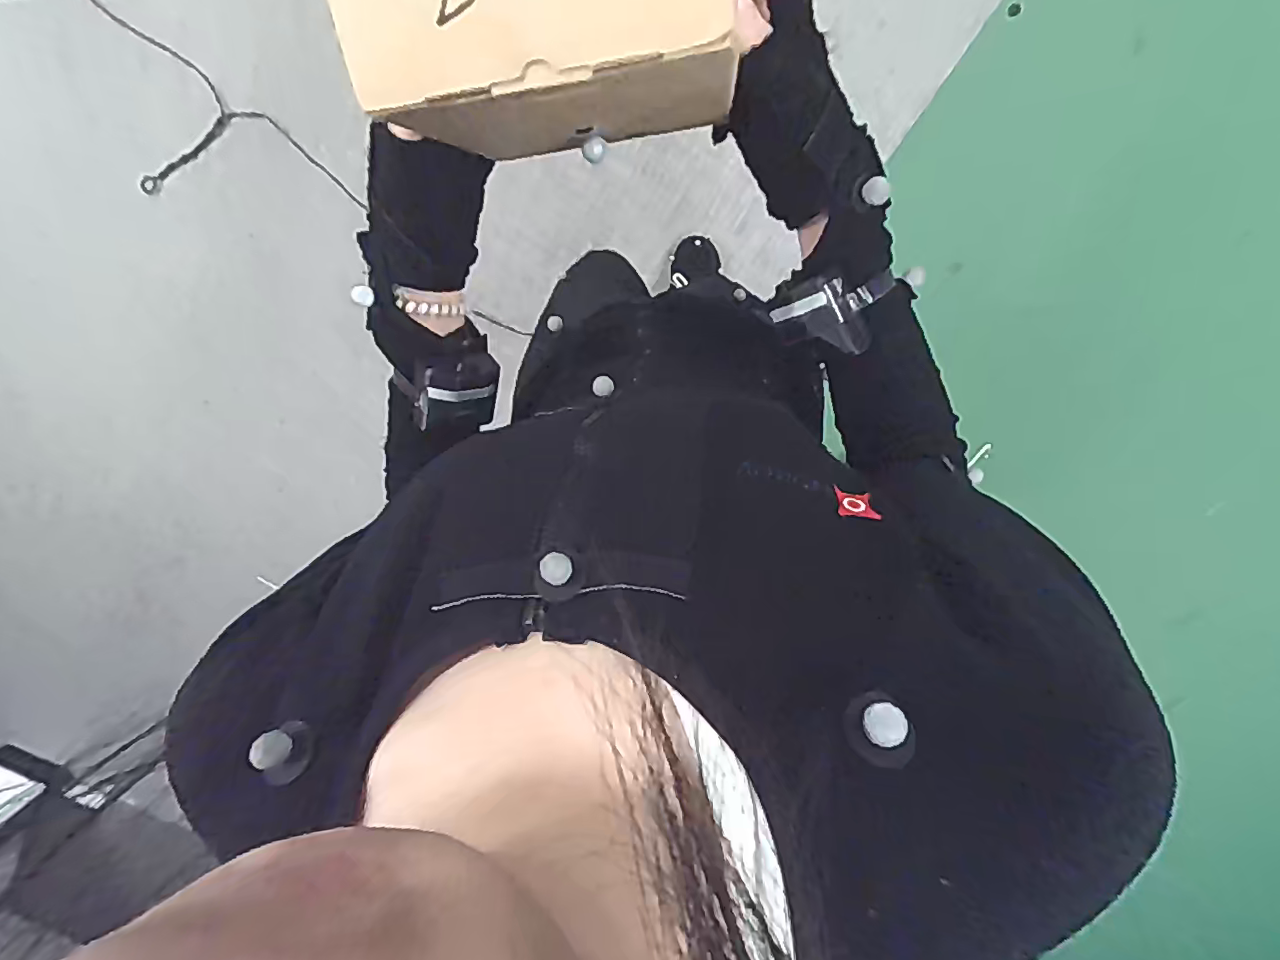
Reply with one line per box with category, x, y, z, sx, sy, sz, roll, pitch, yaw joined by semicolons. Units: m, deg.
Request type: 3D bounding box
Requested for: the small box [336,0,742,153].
small box;-0.041;-0.281;0.264;0.168;0.176;0.179;-4;115;10
